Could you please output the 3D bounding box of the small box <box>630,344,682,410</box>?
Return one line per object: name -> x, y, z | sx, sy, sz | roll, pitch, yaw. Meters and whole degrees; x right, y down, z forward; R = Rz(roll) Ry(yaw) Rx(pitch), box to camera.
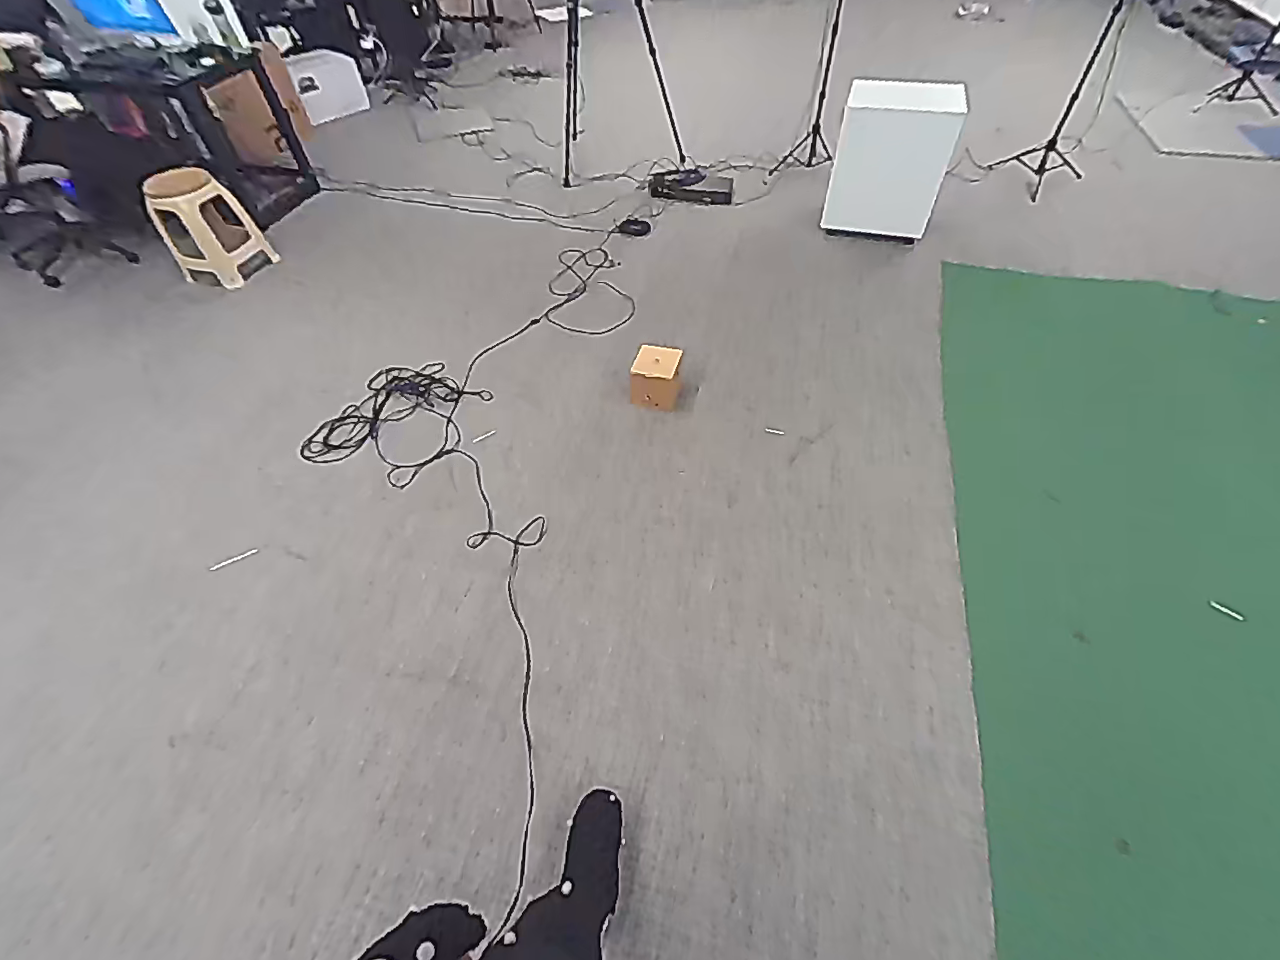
small box -> 0.064, -0.401, 2.113 | 0.168, 0.176, 0.179 | 11, 52, 12
